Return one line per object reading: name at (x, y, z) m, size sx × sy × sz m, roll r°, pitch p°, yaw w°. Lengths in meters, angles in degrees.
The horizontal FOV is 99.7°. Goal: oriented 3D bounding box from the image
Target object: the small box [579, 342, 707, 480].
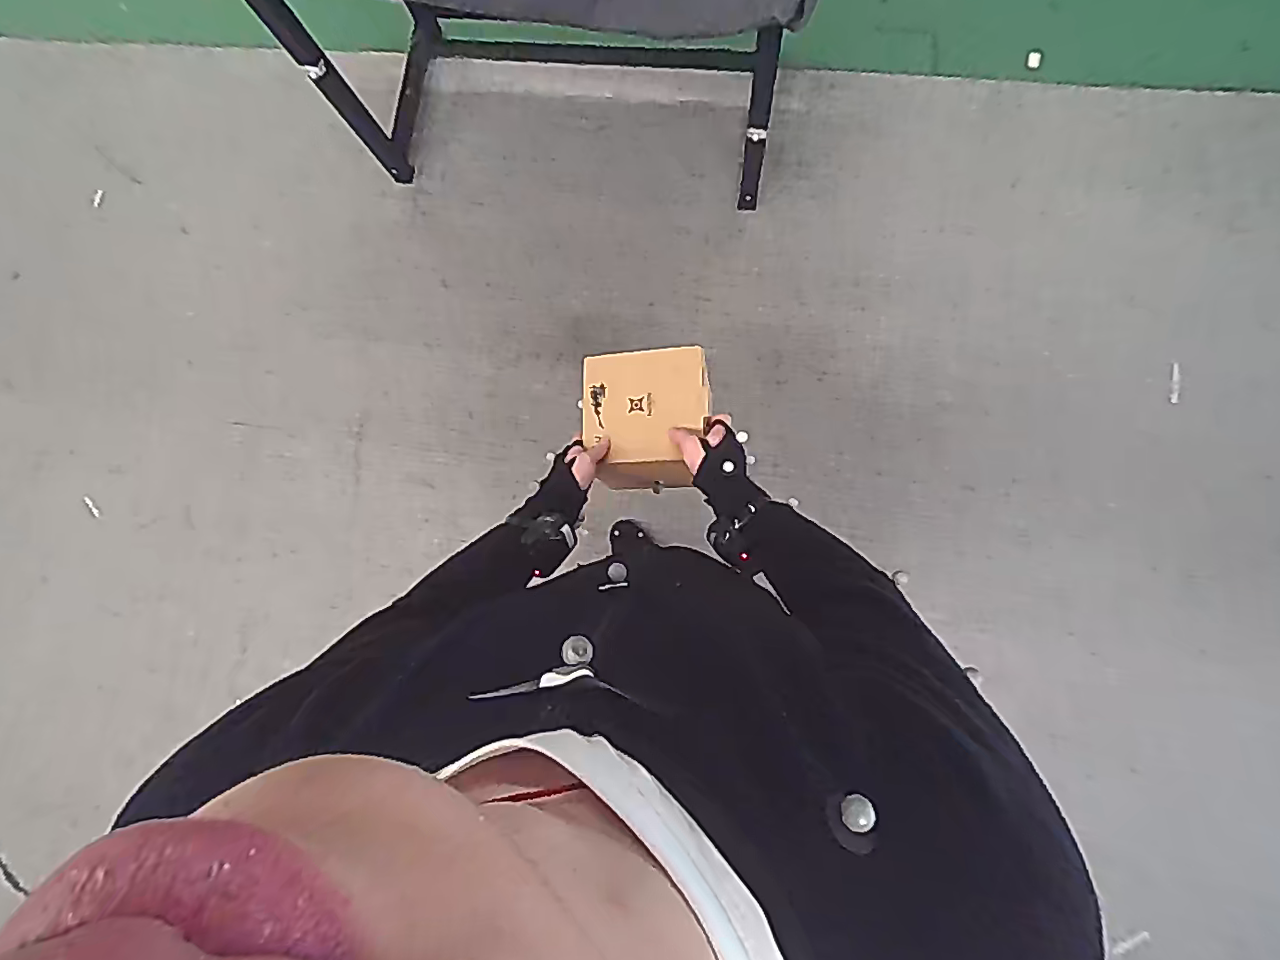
small box at (0.013, -0.097, 0.835) m, size 0.179 × 0.176 × 0.168 m, roll -3°, pitch 77°, yaw 9°
